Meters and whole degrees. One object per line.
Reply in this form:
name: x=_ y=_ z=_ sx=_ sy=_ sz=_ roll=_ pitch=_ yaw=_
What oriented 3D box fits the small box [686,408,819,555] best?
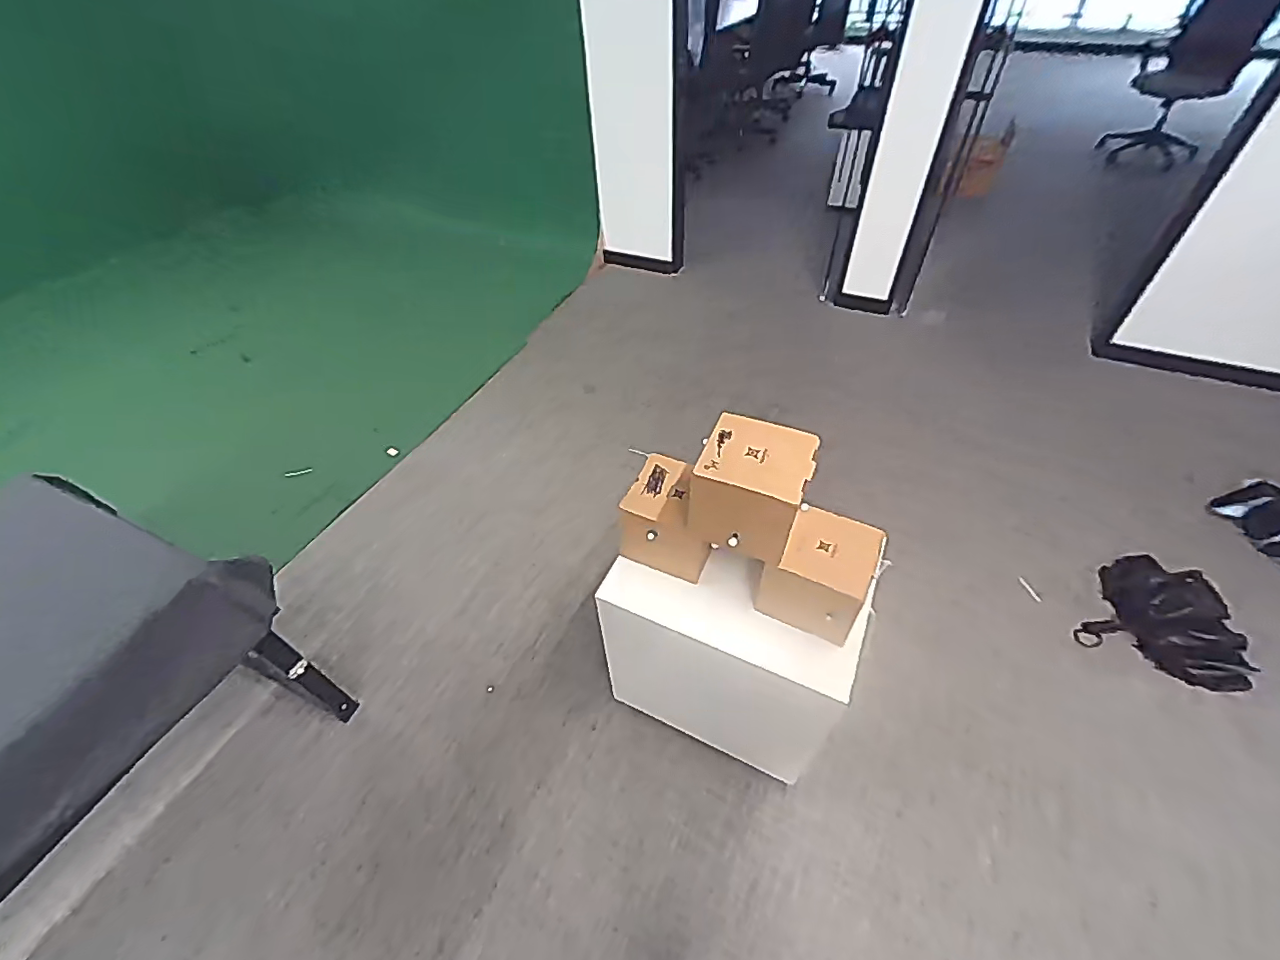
small box: x=0.191 y=0.007 z=0.948 sx=0.179 sy=0.176 sz=0.168 roll=18 pitch=51 yaw=16

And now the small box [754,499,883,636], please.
small box: x=0.330 y=0.168 z=1.018 sx=0.179 sy=0.176 sz=0.168 roll=19 pitch=51 yaw=21

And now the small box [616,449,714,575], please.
small box: x=0.065 y=0.069 z=1.115 sx=0.179 sy=0.176 sz=0.168 roll=19 pitch=52 yaw=16
